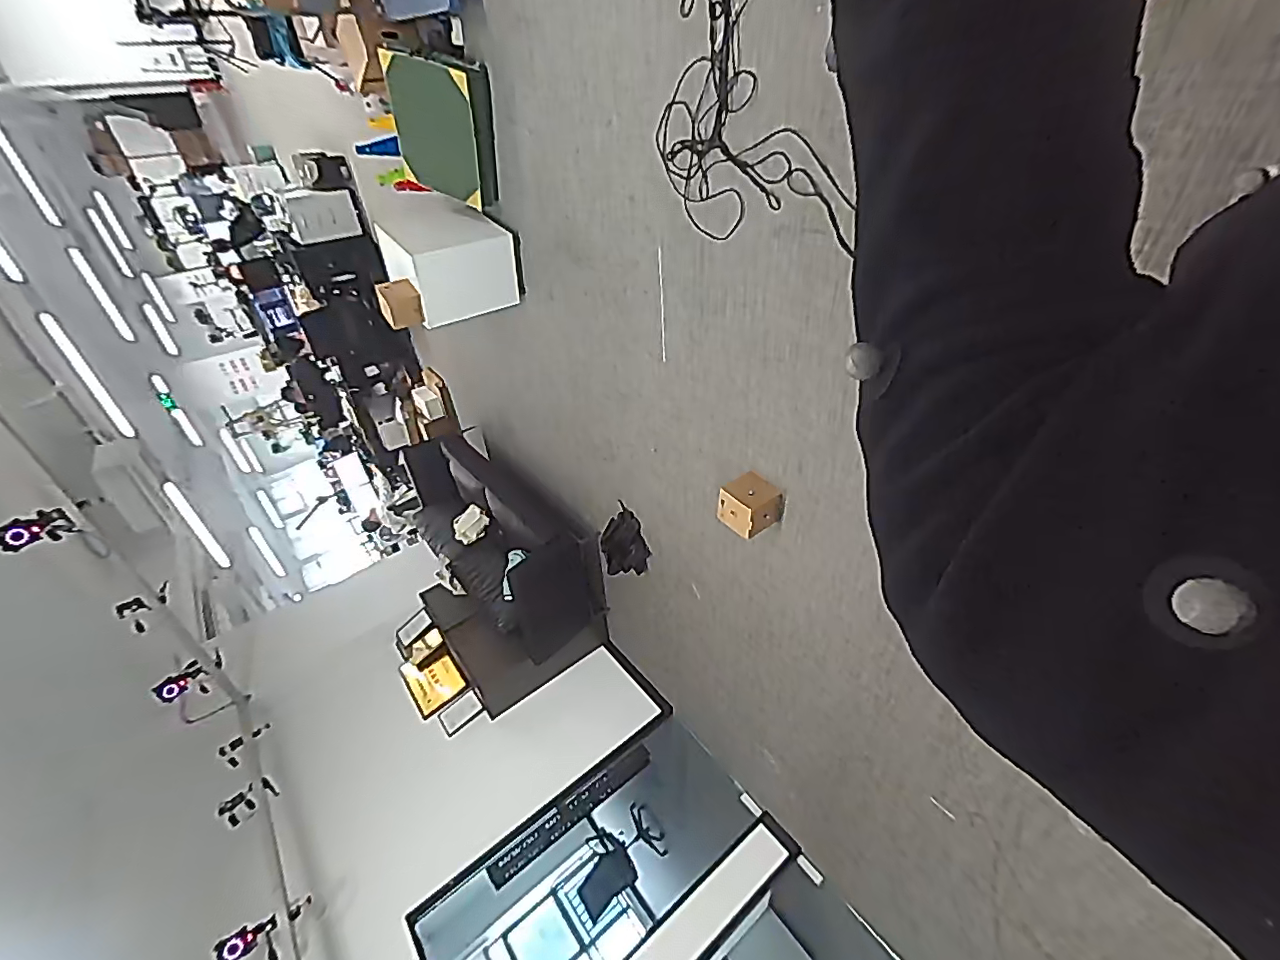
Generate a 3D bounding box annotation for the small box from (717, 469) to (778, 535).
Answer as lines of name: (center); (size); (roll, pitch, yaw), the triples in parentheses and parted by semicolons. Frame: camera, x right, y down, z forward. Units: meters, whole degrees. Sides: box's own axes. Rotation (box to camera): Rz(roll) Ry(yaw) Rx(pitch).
small box: (0.433, 0.083, 2.178); (0.179, 0.176, 0.168); (37, 143, 37)
